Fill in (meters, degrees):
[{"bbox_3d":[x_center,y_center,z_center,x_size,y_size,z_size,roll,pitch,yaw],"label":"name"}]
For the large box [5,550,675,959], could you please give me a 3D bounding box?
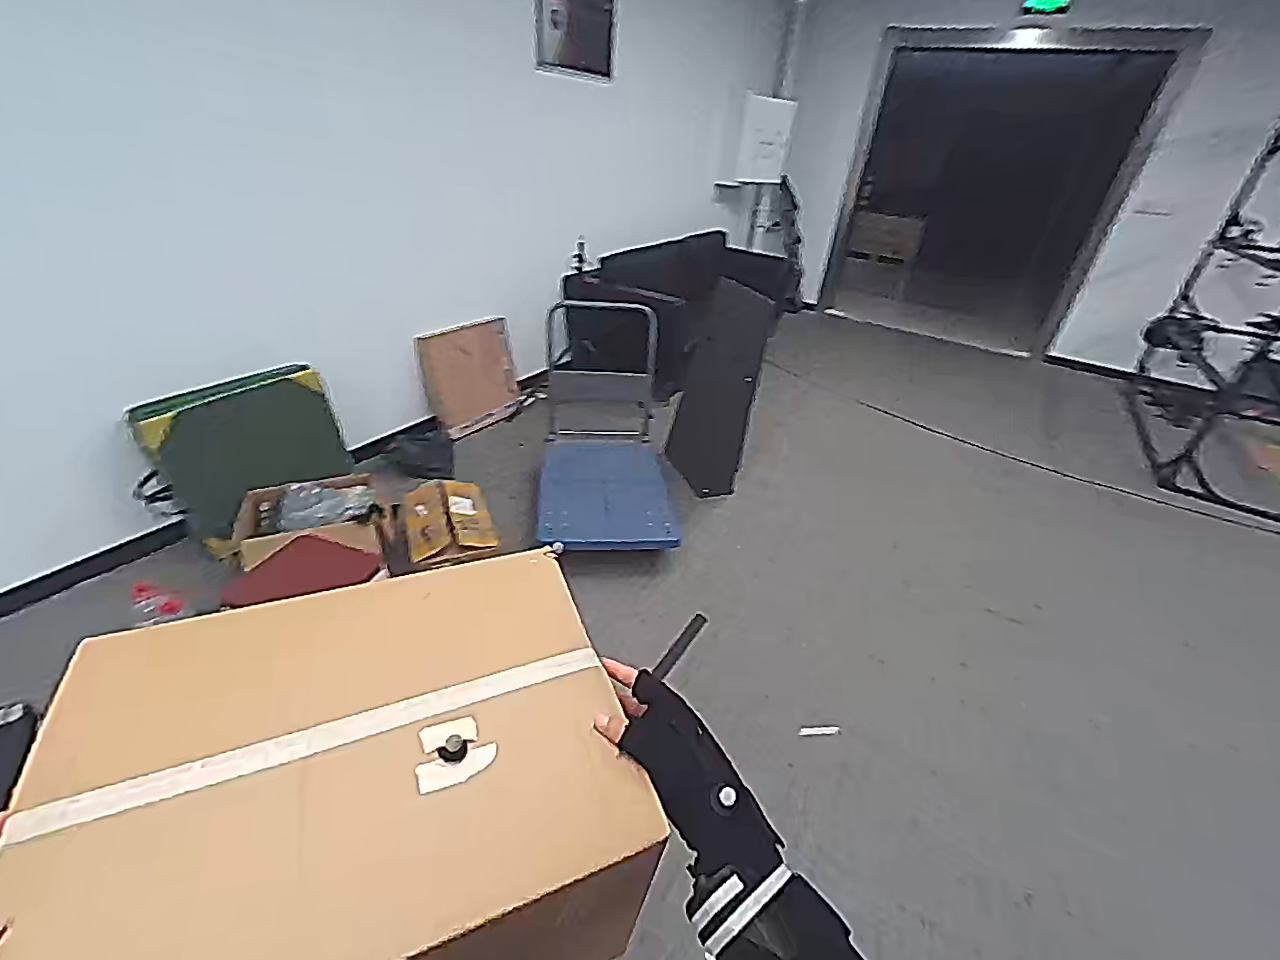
[{"bbox_3d":[-0.230,0.314,0.526,0.408,0.320,0.320,-7,40,-23],"label":"large box"}]
